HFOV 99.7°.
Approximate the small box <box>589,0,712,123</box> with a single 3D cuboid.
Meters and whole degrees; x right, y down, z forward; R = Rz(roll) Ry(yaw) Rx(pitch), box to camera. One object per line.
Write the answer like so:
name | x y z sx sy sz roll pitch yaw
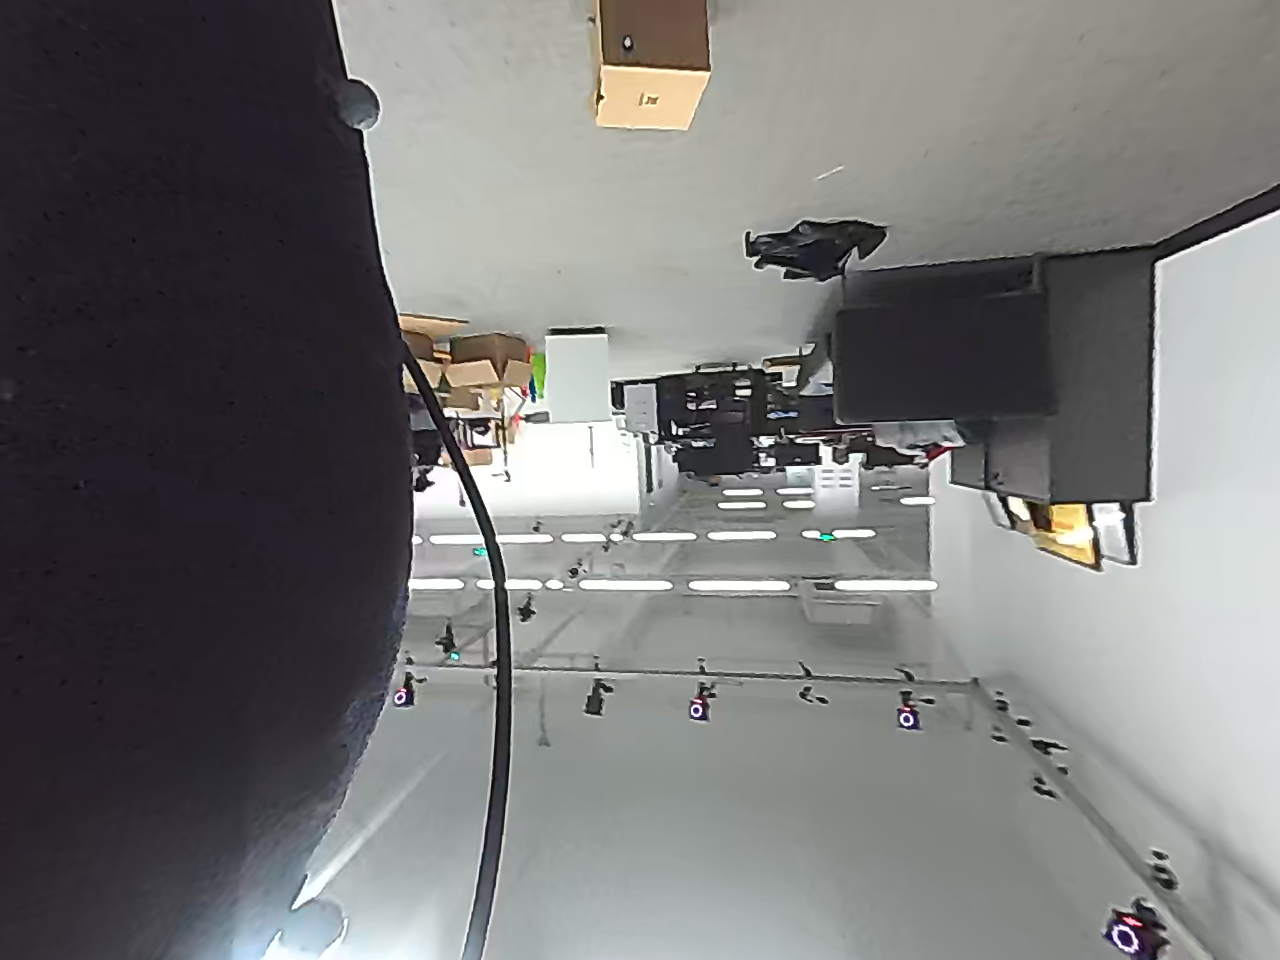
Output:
small box | 0.011 -0.730 0.898 0.179 0.176 0.168 -3 -175 -9
